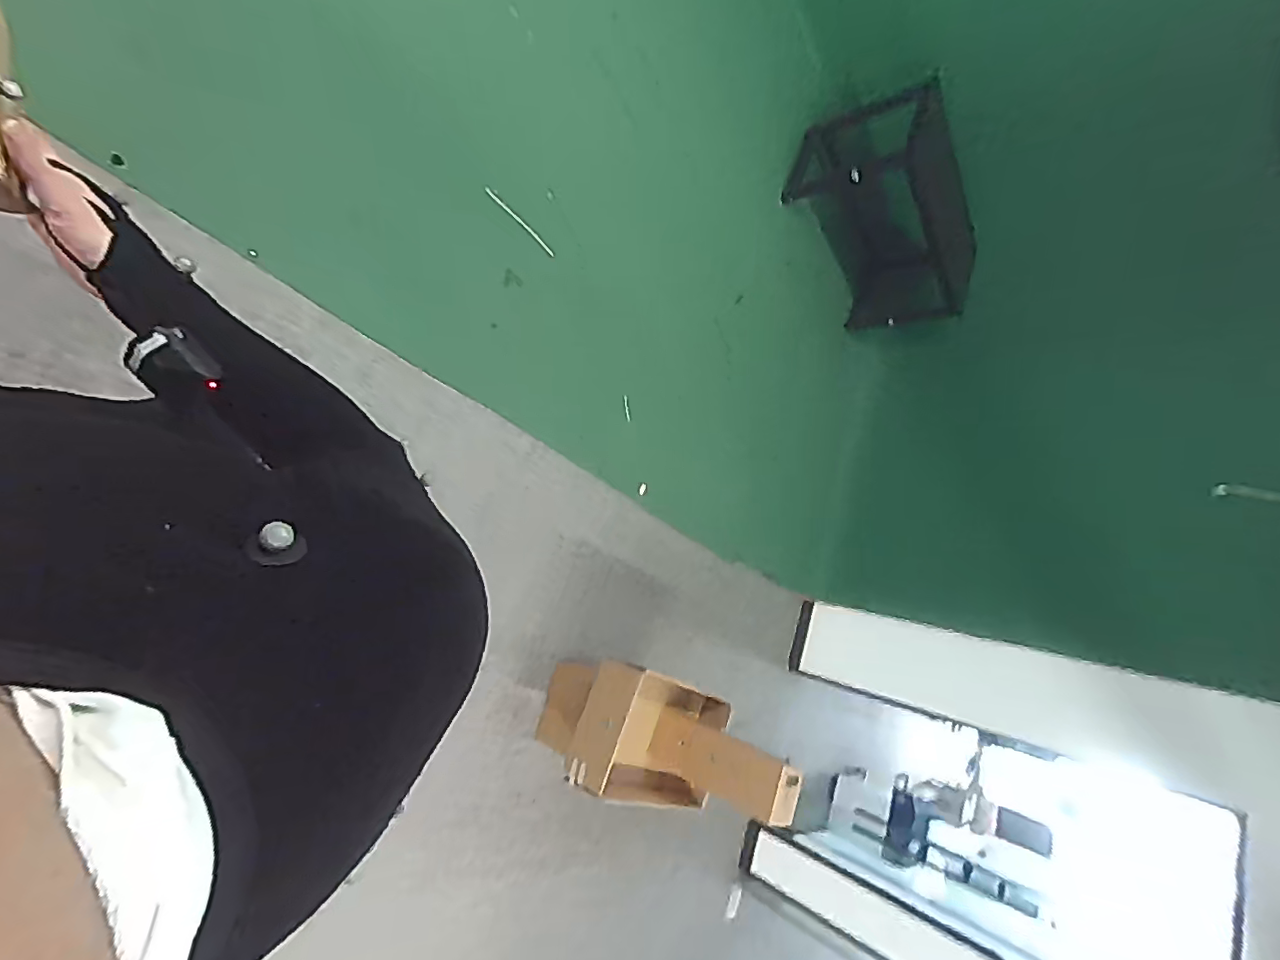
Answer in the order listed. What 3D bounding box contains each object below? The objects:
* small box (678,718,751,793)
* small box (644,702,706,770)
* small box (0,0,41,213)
[{"bbox_3d":[0.255,0.951,1.870,0.168,0.176,0.179,36,67,-43],"label":"small box"},{"bbox_3d":[0.136,0.942,1.984,0.168,0.176,0.179,38,67,-43],"label":"small box"},{"bbox_3d":[-0.545,-0.293,0.359,0.179,0.176,0.168,-6,105,-43],"label":"small box"}]
